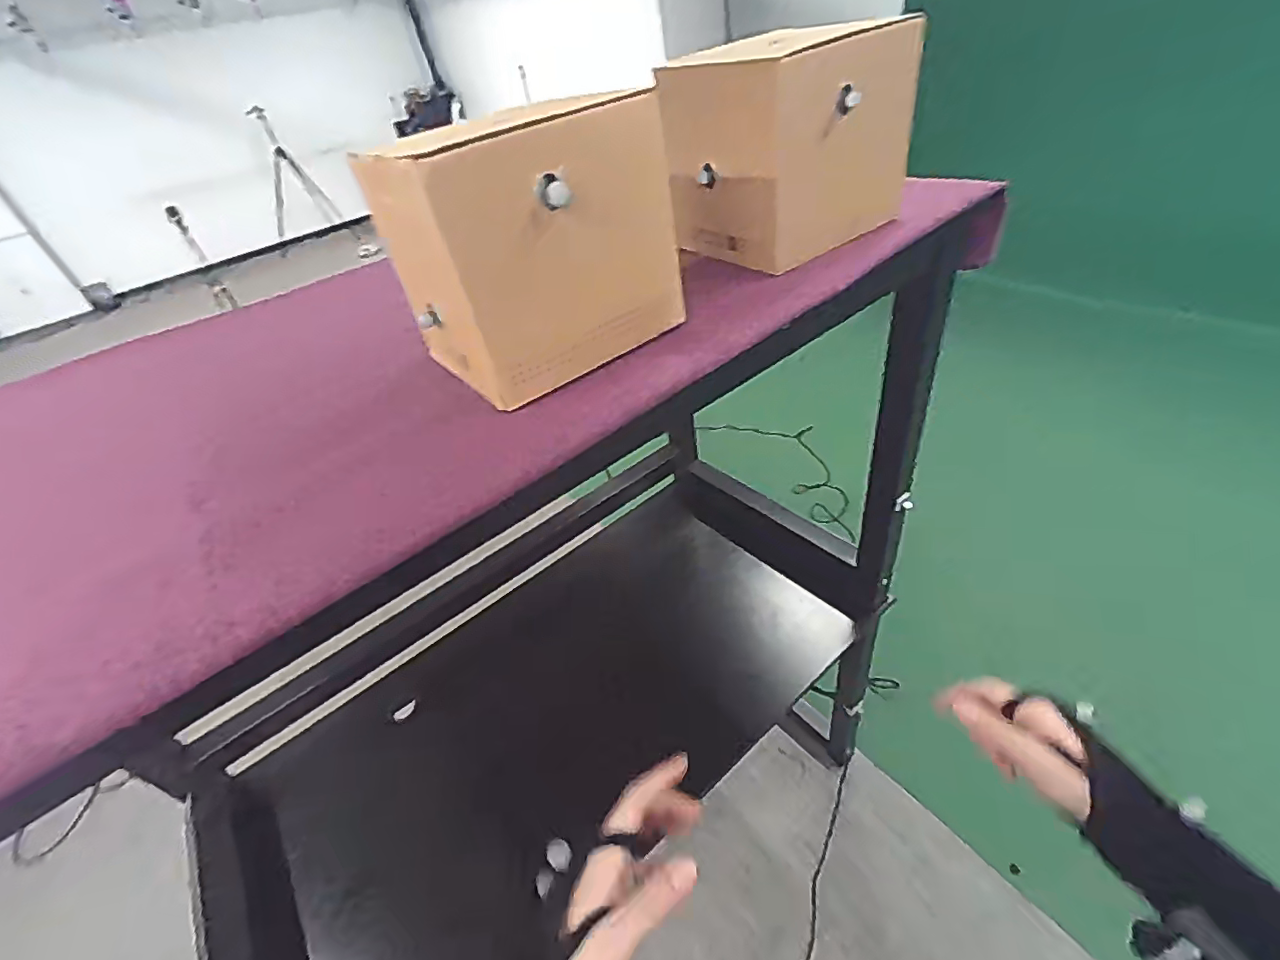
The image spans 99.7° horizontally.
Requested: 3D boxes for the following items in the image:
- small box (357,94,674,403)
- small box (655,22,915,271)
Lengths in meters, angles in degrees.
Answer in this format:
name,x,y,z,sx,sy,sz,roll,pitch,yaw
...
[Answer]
name,x,y,z,sx,sy,sz,roll,pitch,yaw
small box,-0.087,-0.190,0.438,0.179,0.176,0.168,-33,42,-22
small box,0.141,-0.330,0.545,0.179,0.176,0.168,-30,44,-20
